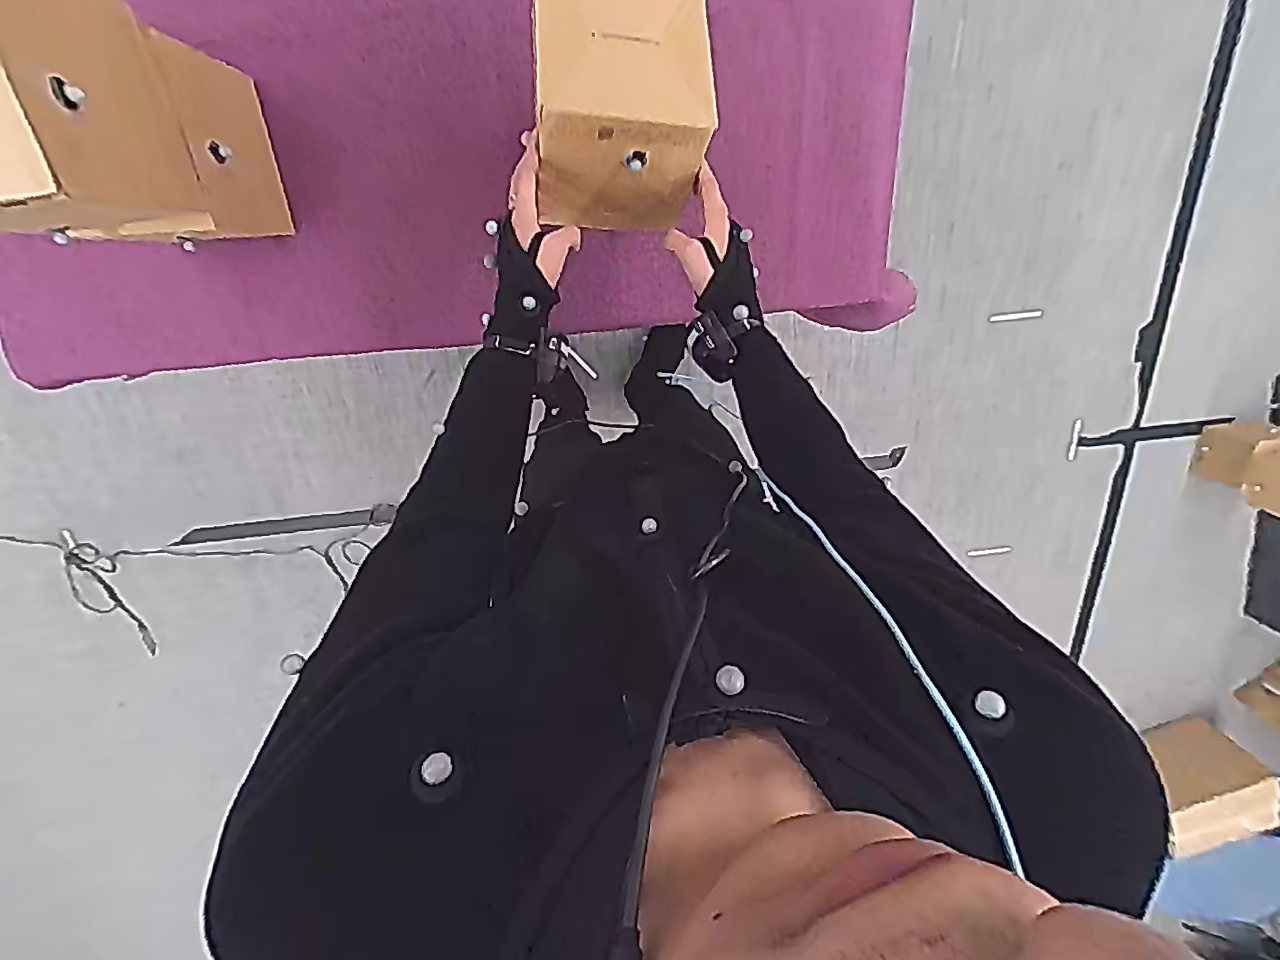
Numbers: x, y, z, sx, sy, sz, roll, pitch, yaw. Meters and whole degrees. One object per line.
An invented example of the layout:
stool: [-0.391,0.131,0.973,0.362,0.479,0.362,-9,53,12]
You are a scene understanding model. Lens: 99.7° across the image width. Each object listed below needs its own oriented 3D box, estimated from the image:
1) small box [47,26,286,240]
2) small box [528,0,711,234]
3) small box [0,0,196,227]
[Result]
small box: [-0.535,-0.365,0.600,0.168,0.176,0.179,-4,113,-4]
small box: [-0.032,-0.399,0.579,0.168,0.176,0.179,-1,75,-12]
small box: [-0.527,-0.311,0.444,0.168,0.176,0.179,-8,113,-2]
